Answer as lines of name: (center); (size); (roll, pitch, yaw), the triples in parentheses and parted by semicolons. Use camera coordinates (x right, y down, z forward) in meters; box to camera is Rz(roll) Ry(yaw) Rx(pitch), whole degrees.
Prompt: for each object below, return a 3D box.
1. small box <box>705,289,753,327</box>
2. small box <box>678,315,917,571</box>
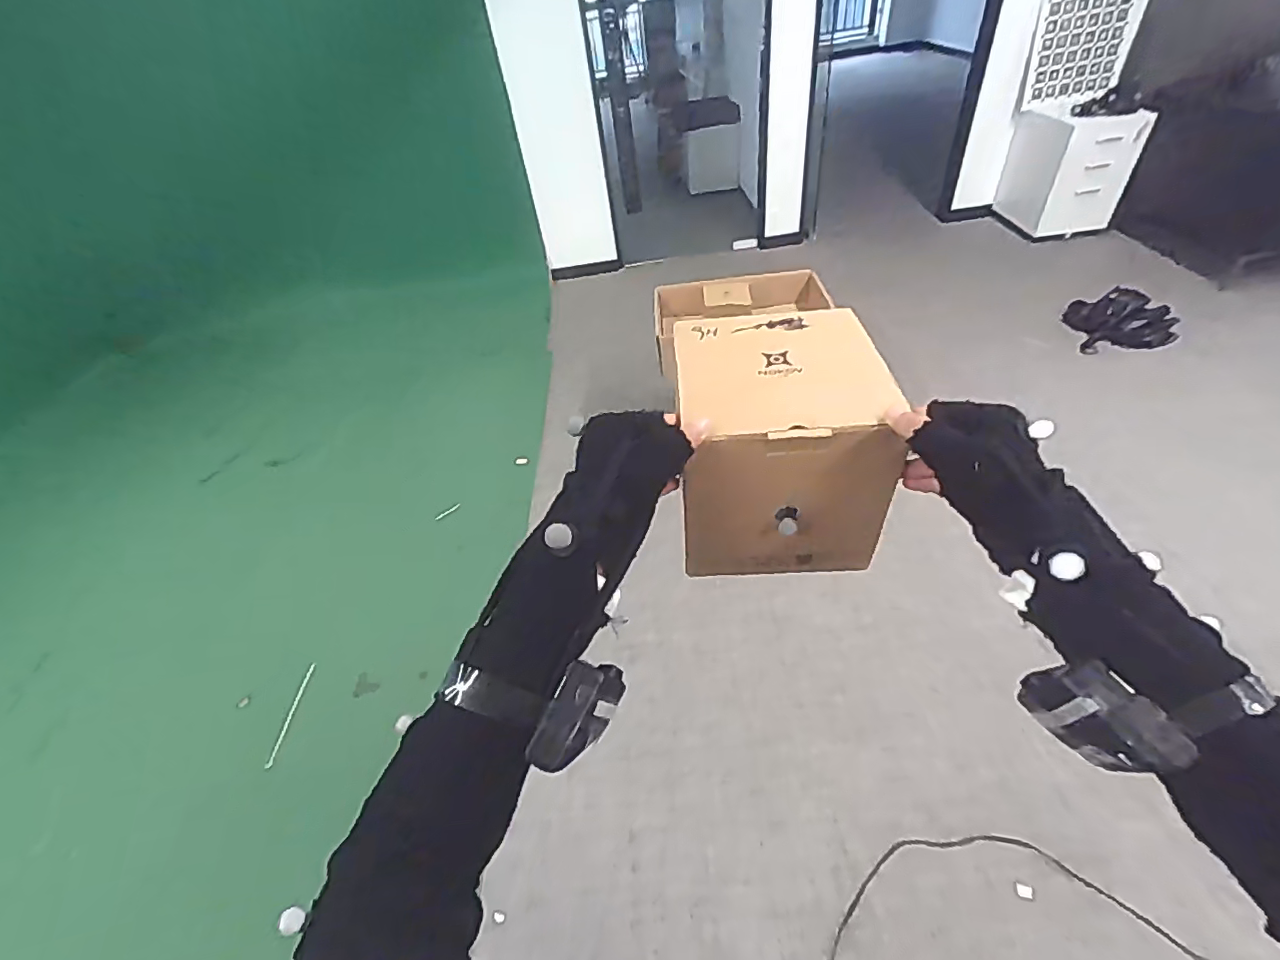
small box: (0.330, -0.593, 2.013); (0.168, 0.176, 0.179); (-2, 41, 5)
small box: (0.123, -0.028, 0.496); (0.168, 0.176, 0.179); (-3, 44, 4)
